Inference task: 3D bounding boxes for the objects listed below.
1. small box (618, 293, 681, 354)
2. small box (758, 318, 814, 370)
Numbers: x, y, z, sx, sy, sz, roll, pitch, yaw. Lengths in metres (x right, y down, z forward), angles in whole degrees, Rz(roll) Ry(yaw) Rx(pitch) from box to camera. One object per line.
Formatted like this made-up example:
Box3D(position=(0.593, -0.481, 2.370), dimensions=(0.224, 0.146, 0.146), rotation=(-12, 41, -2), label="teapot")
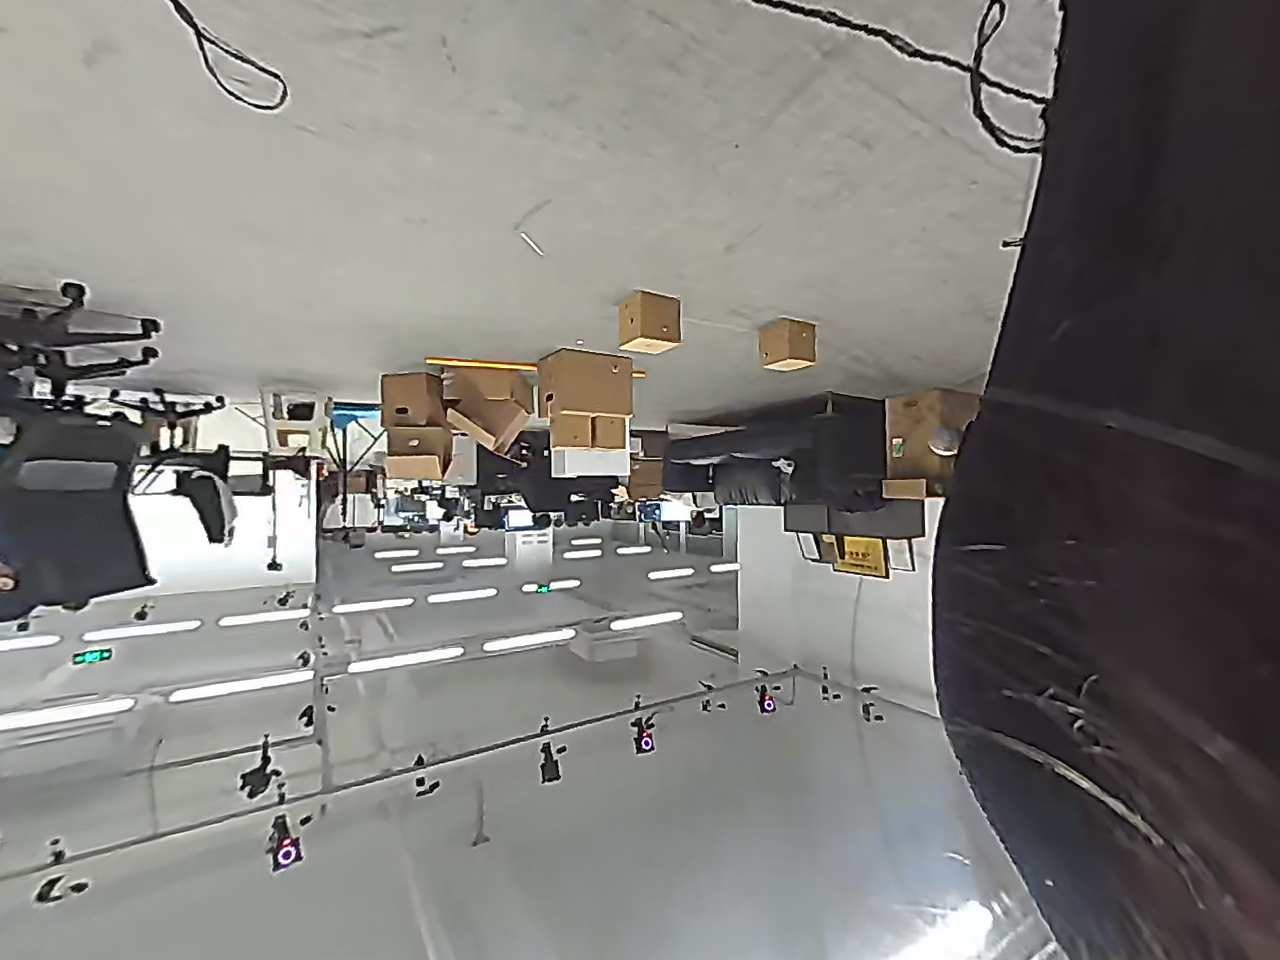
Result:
Box3D(position=(0.031, -0.572, 1.975), dimensions=(0.179, 0.176, 0.168), rotation=(-1, 179, -31), label="small box")
Box3D(position=(0.627, -0.580, 2.313), dimensions=(0.168, 0.176, 0.179), rotation=(-1, 179, -31), label="small box")
